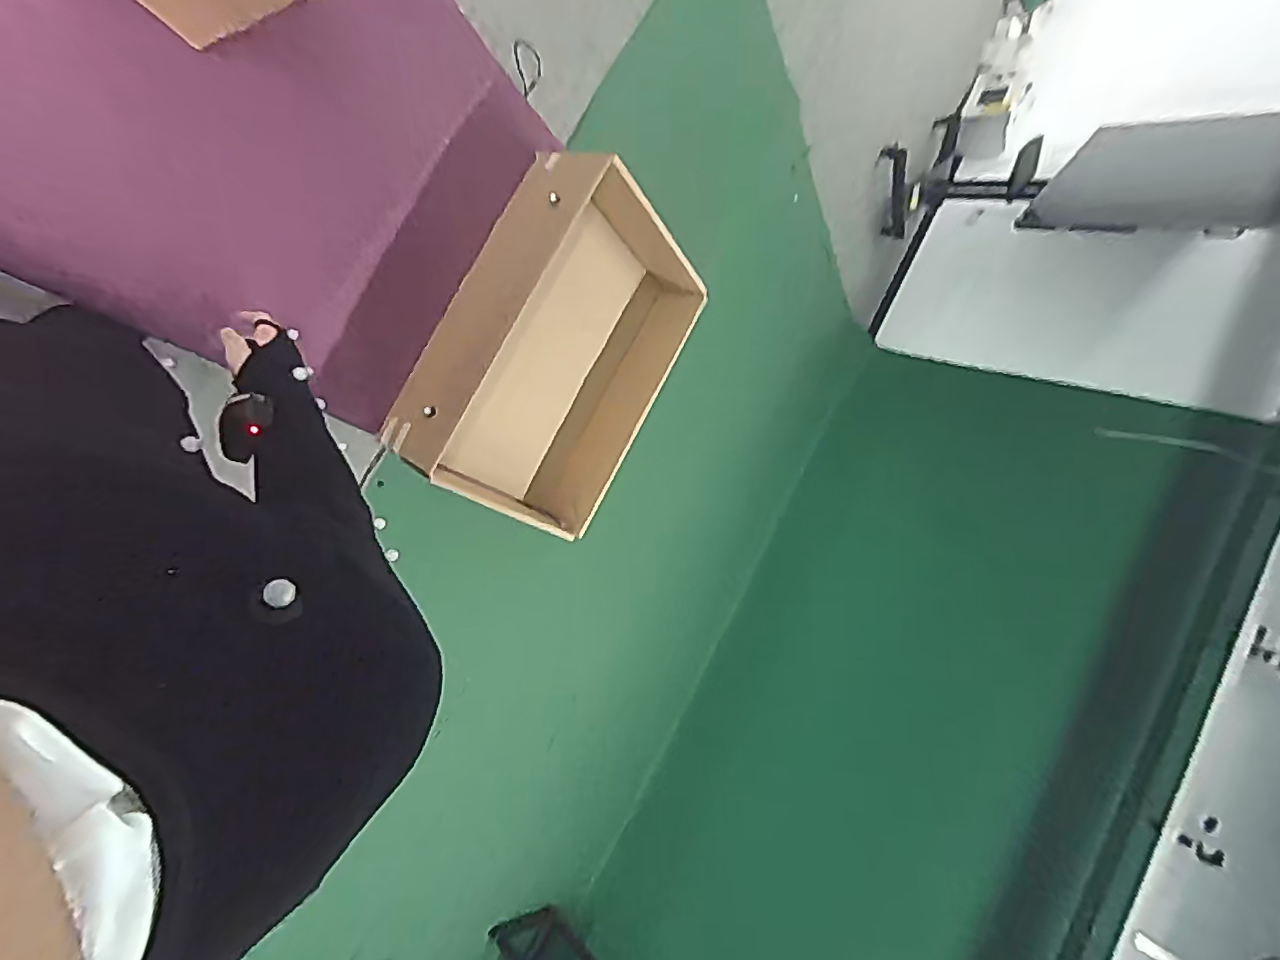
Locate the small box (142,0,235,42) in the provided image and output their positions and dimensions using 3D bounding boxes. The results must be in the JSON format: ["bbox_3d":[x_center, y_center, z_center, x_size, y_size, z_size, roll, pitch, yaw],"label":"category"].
[{"bbox_3d":[-0.458,-0.574,0.520,0.168,0.176,0.179,32,83,-54],"label":"small box"}]

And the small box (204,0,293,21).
[{"bbox_3d":[-0.331,-0.521,0.430,0.179,0.176,0.168,-61,143,-7],"label":"small box"}]
